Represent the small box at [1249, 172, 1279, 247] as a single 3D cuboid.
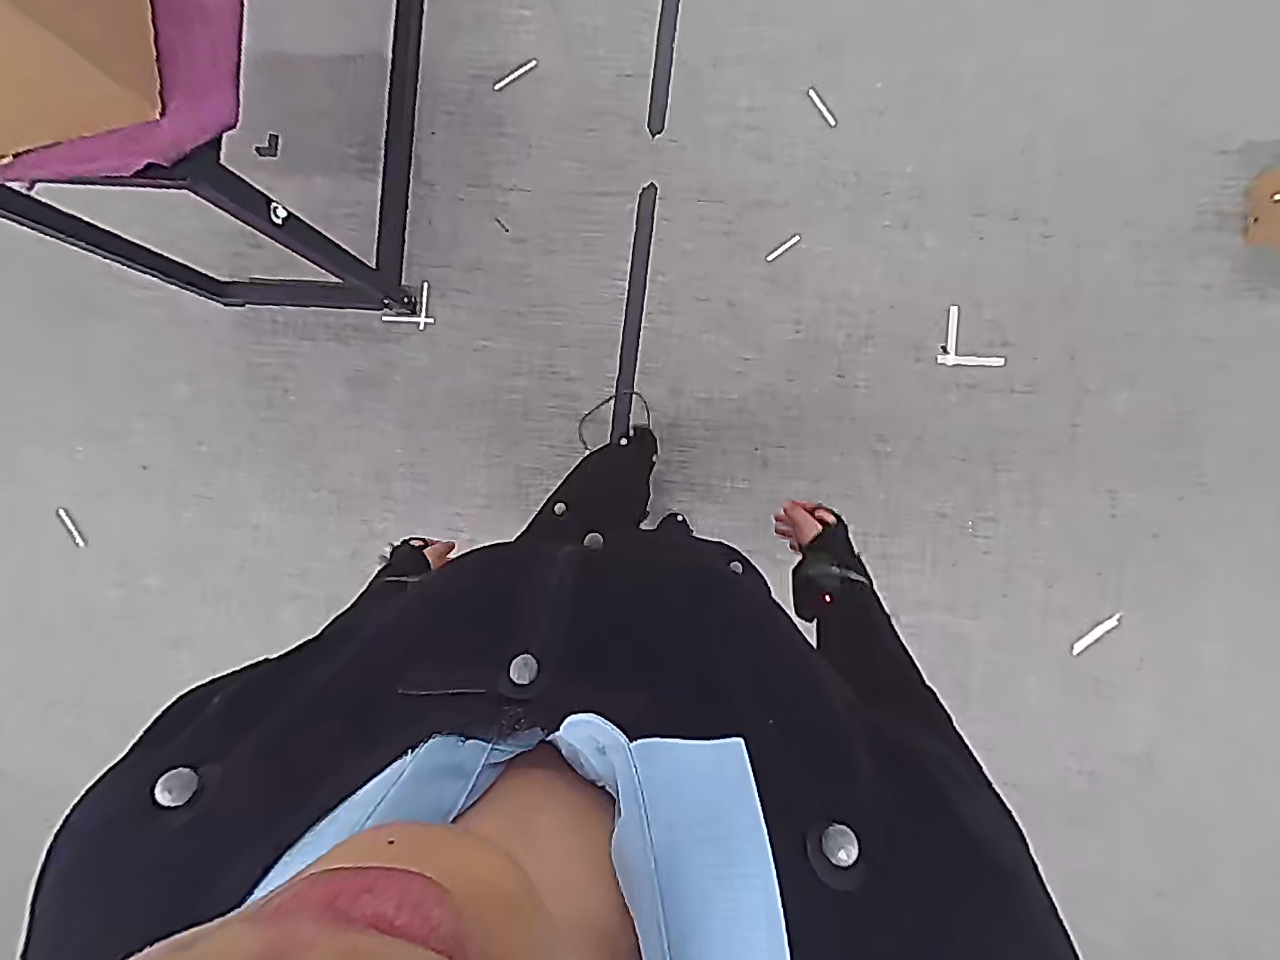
[{"bbox_3d":[1.653,-0.677,1.311,0.179,0.176,0.168,4,90,3],"label":"small box"}]
